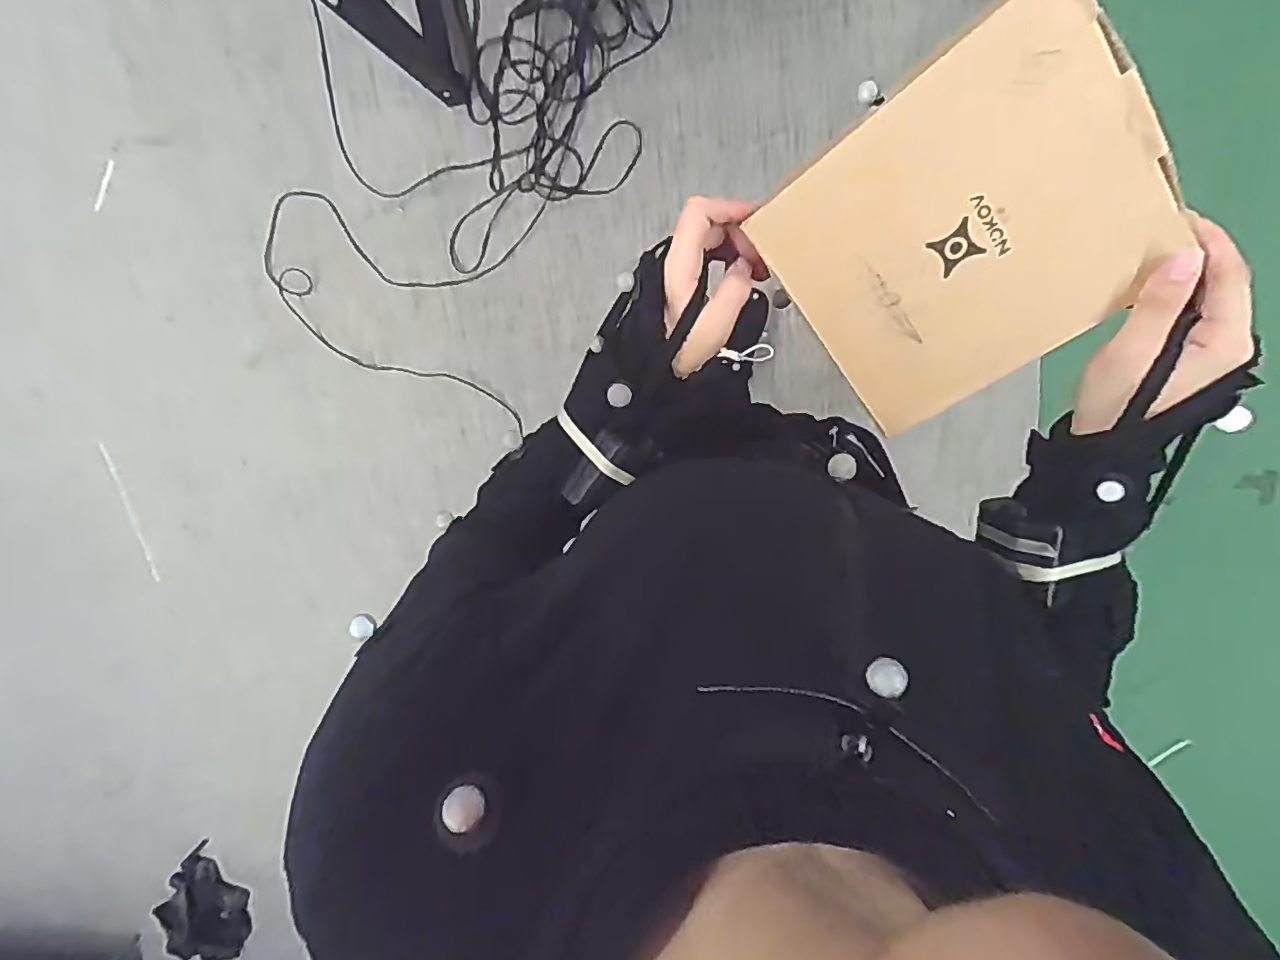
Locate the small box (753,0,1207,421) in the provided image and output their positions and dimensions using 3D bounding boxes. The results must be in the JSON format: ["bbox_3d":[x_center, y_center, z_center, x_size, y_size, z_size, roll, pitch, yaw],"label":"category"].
[{"bbox_3d":[0.190,-0.176,0.360,0.179,0.176,0.168,-34,106,26],"label":"small box"}]
